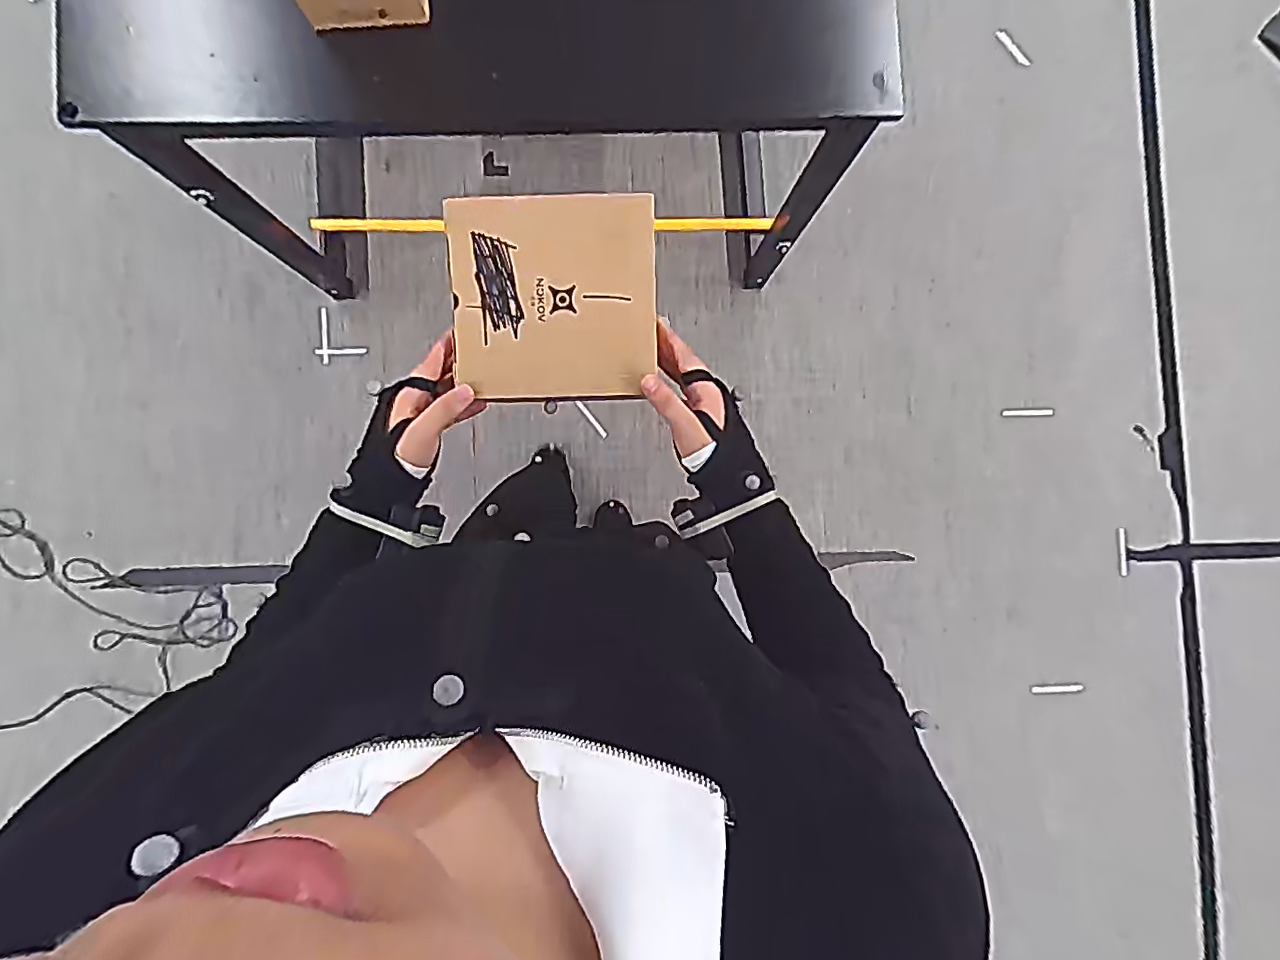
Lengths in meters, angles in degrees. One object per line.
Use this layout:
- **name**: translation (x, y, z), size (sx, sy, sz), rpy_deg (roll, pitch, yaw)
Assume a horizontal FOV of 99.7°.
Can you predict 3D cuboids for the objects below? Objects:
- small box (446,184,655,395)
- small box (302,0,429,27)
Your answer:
- **small box**: translation (-0.075, -0.173, 0.538), size (0.179, 0.176, 0.168), rpy_deg (-1, 97, 0)
- **small box**: translation (-0.389, -0.739, 0.707), size (0.168, 0.176, 0.179), rpy_deg (-7, 88, -3)
